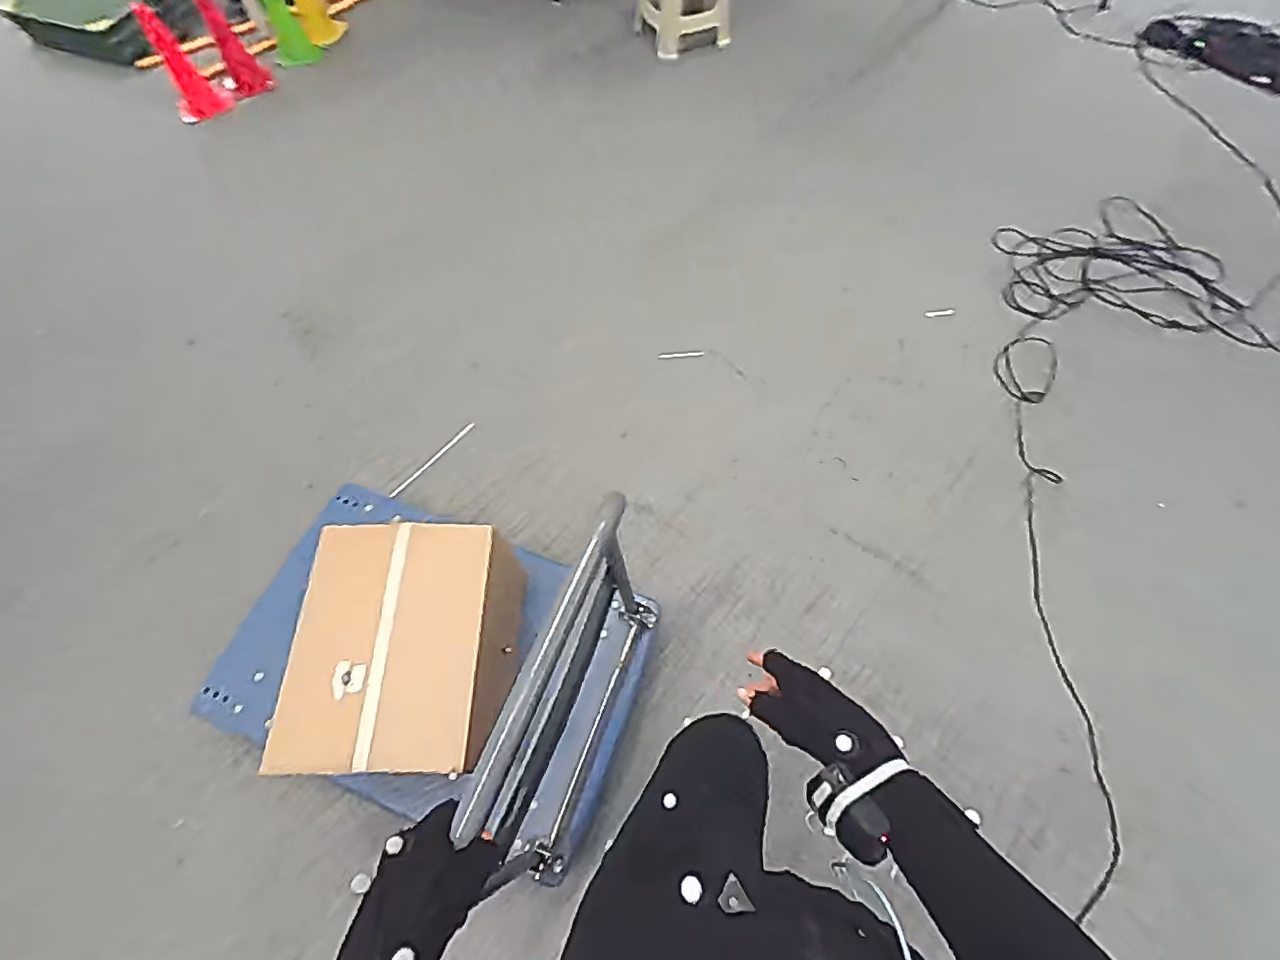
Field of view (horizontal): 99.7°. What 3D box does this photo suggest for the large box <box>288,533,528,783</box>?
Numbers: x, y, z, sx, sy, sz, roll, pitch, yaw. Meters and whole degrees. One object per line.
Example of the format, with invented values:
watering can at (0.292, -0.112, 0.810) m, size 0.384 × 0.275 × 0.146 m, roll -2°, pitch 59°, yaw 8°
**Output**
large box at (-0.404, 0.345, 1.056) m, size 0.320 × 0.320 × 0.408 m, roll -2°, pitch 65°, yaw 1°
